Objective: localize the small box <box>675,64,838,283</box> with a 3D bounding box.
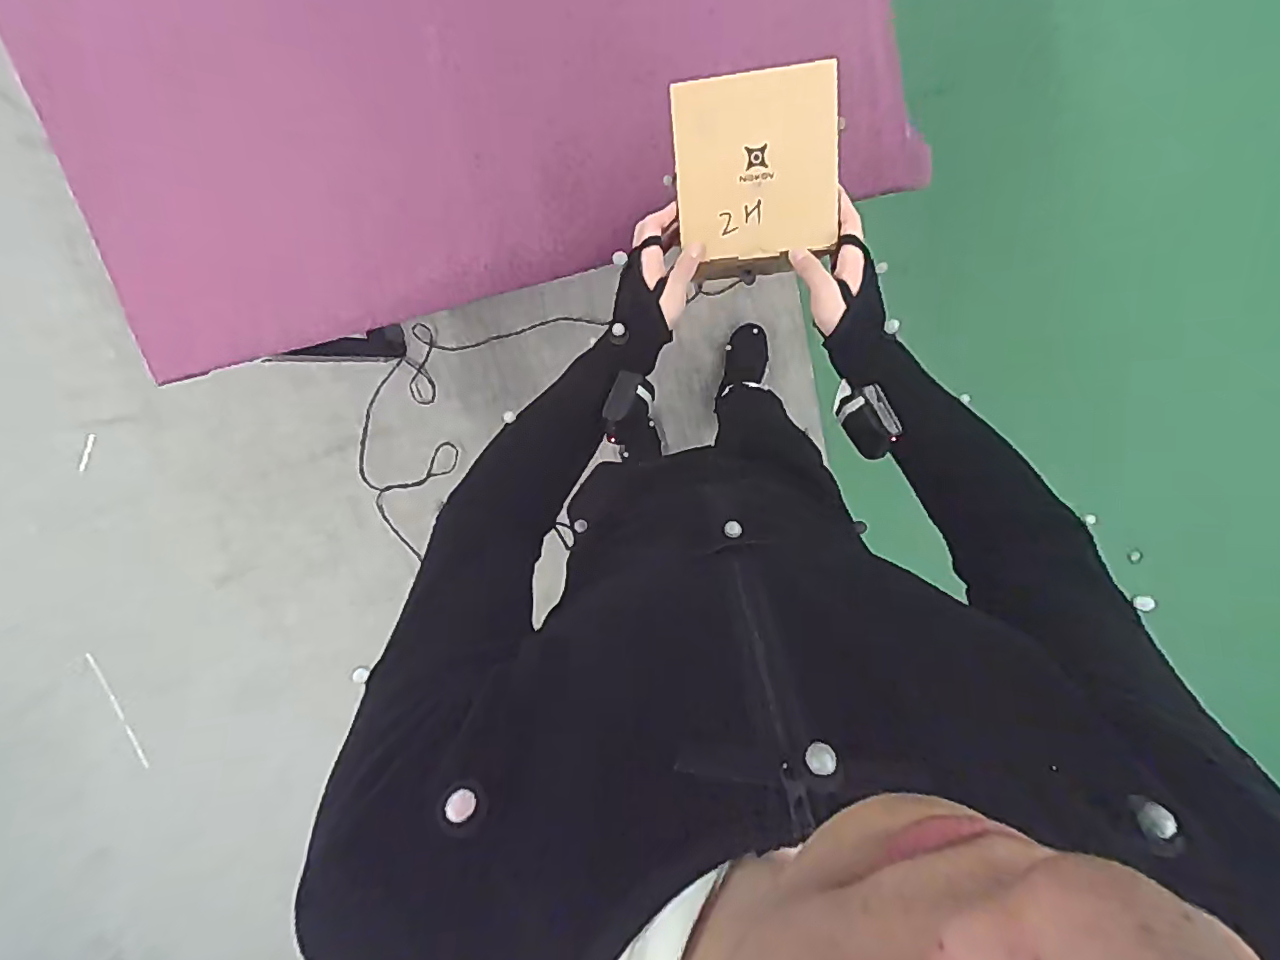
[{"bbox_3d":[0.128,-0.340,0.636,0.168,0.176,0.179,-3,103,7],"label":"small box"}]
